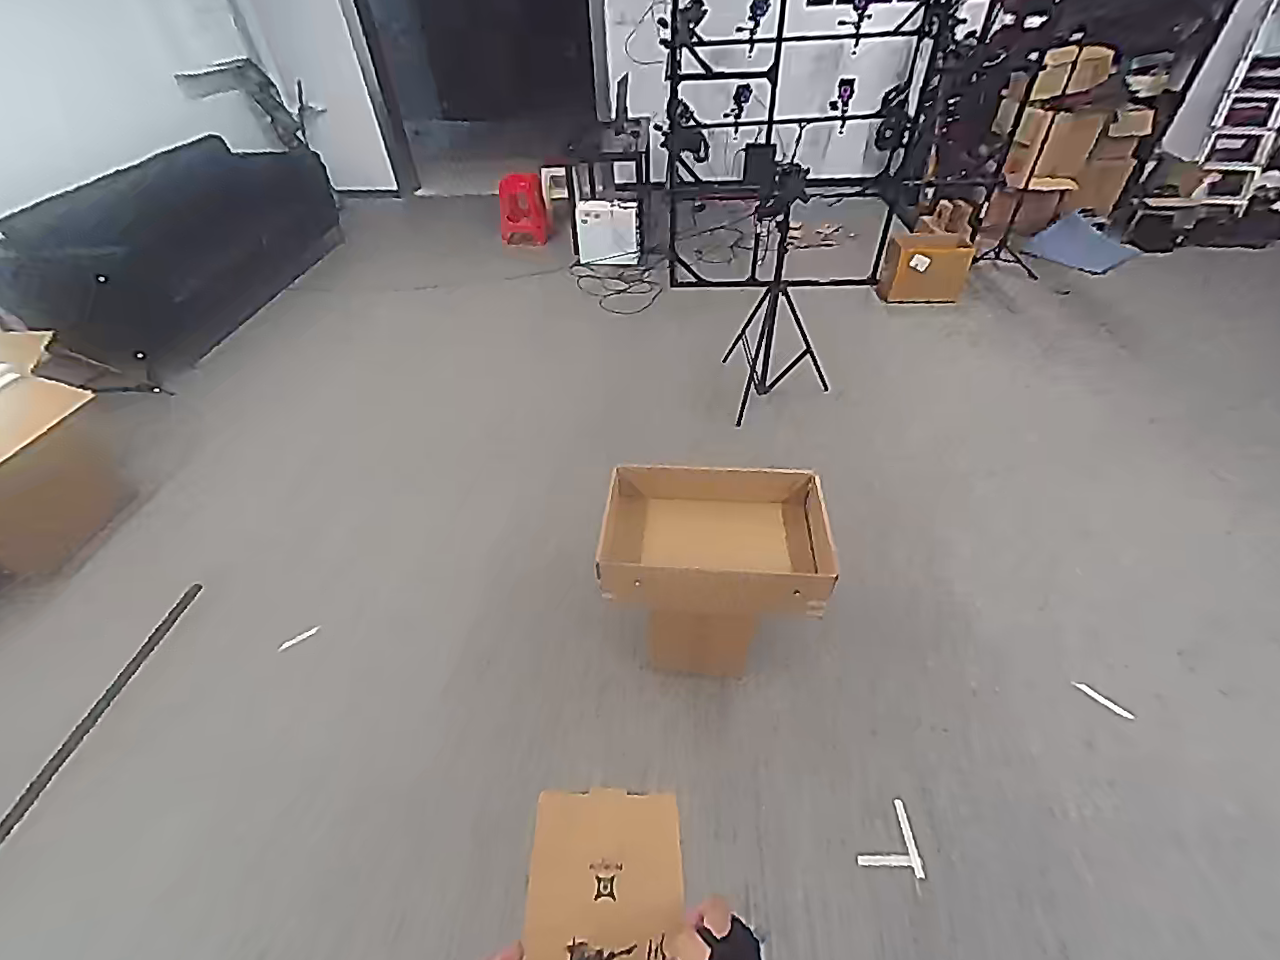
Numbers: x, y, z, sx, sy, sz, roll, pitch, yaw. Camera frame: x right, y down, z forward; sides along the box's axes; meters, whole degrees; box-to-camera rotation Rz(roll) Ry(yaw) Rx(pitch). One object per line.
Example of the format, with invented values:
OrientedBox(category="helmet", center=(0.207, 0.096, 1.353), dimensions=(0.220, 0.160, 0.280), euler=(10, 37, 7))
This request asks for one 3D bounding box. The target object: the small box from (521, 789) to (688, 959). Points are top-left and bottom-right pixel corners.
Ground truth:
OrientedBox(category="small box", center=(-0.042, 0.490, 0.628), dimensions=(0.168, 0.176, 0.179), euler=(3, 37, -4))
